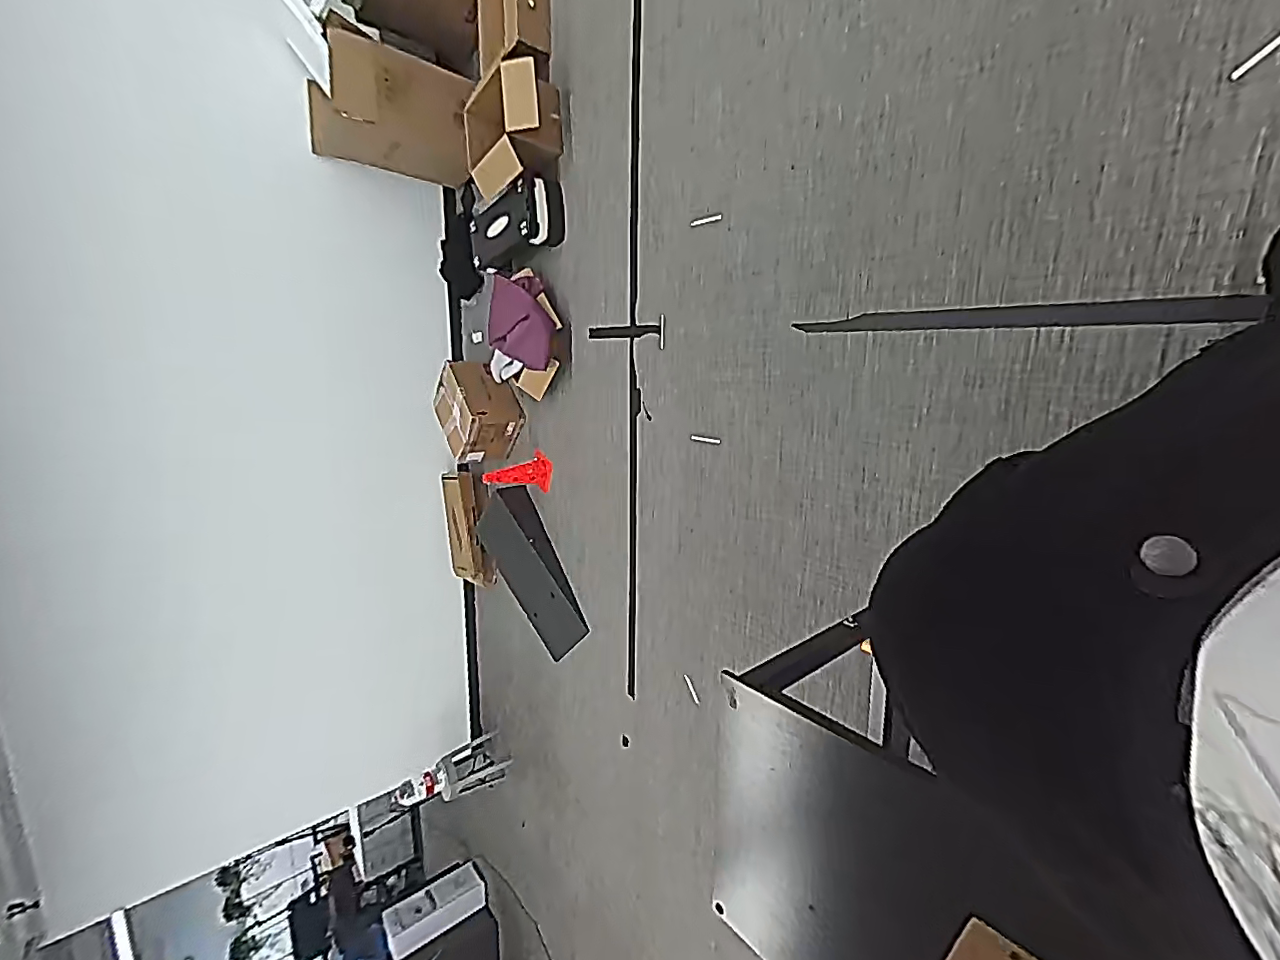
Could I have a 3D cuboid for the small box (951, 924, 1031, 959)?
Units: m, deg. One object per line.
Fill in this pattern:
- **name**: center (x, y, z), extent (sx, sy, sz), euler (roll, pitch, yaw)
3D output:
- **small box**: center (0.476, 0.738, 0.691), extent (0.168, 0.176, 0.179), euler (12, 105, 49)
